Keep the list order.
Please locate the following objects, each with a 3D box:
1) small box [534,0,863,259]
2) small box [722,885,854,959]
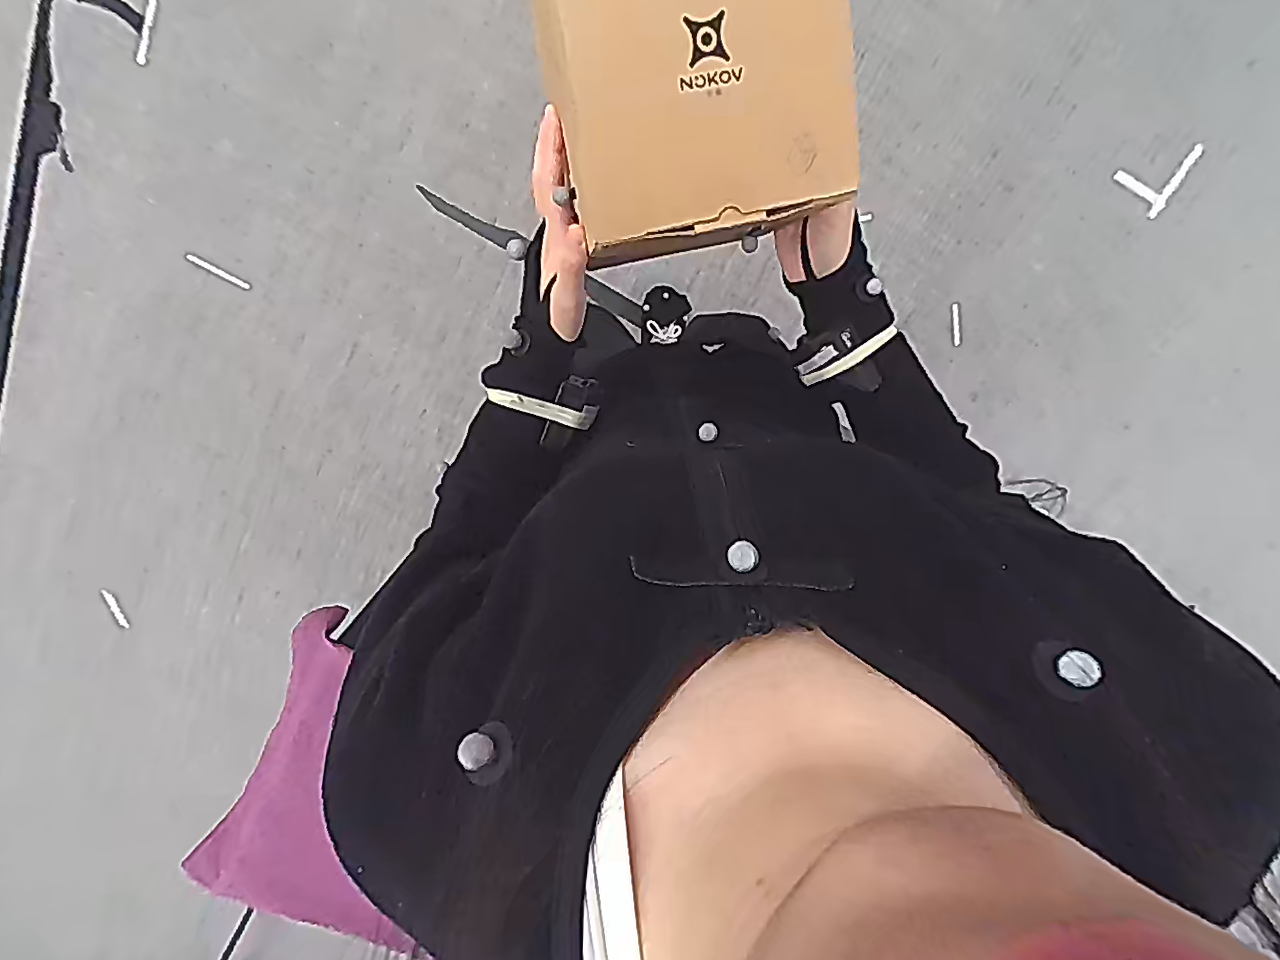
[{"bbox_3d":[0.027,-0.257,0.367,0.168,0.176,0.179,-14,107,-5],"label":"small box"},{"bbox_3d":[0.263,0.867,0.959,0.179,0.176,0.168,24,108,-9],"label":"small box"}]
